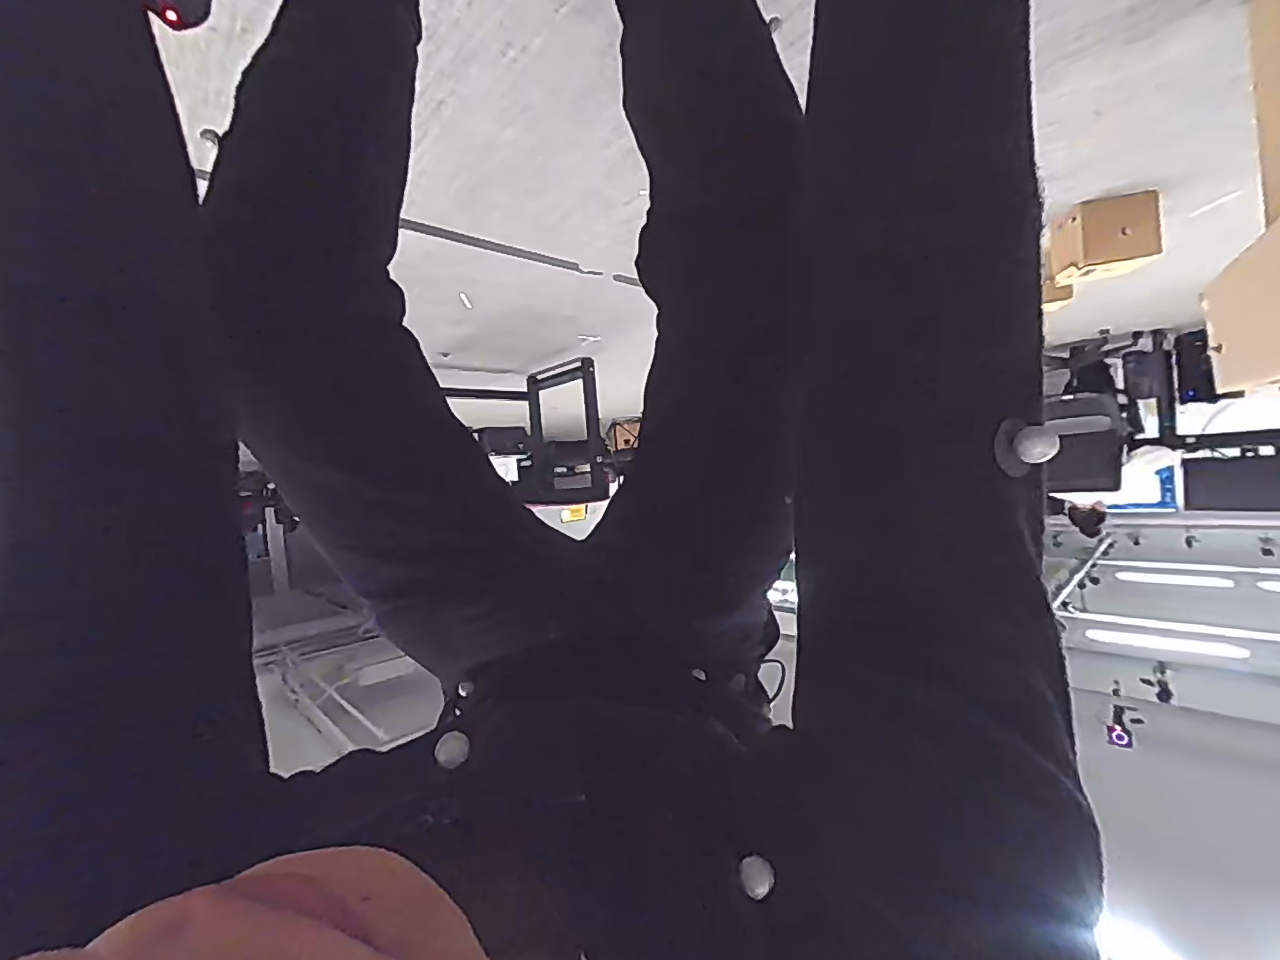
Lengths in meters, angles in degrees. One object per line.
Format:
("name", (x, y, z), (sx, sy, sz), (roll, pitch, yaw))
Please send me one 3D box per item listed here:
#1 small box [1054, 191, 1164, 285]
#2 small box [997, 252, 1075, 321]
("small box", (1.270, -0.656, 1.478), (0.179, 0.176, 0.168), (-5, -179, 15))
("small box", (1.359, -0.667, 1.864), (0.179, 0.176, 0.168), (-6, 180, 22))
